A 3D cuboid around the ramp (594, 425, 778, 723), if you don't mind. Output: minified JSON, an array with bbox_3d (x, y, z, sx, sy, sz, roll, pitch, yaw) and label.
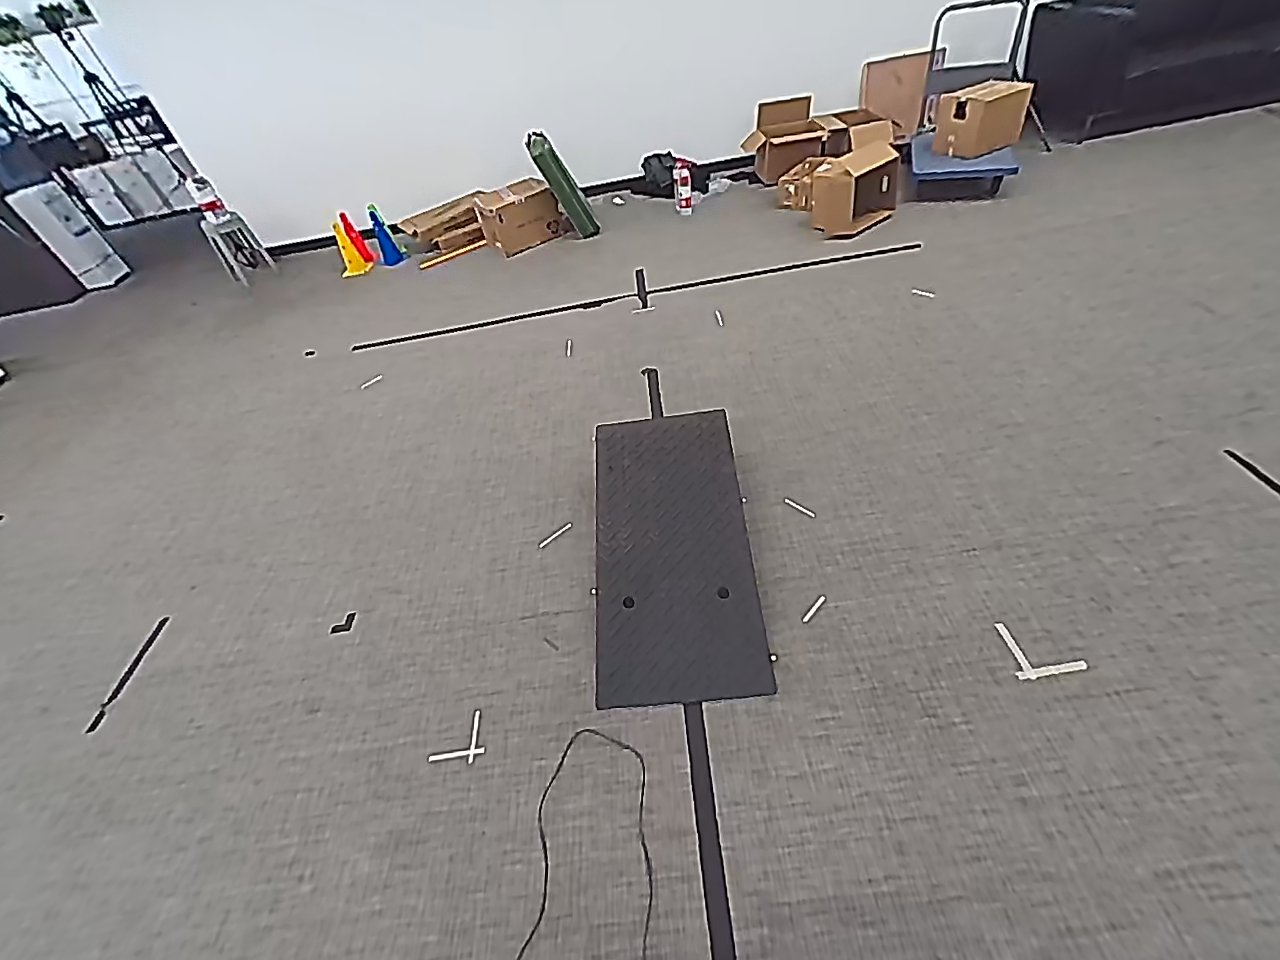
[{"bbox_3d":[0.100,0.232,1.751,0.509,0.206,0.991,-9,43,3],"label":"ramp"}]
